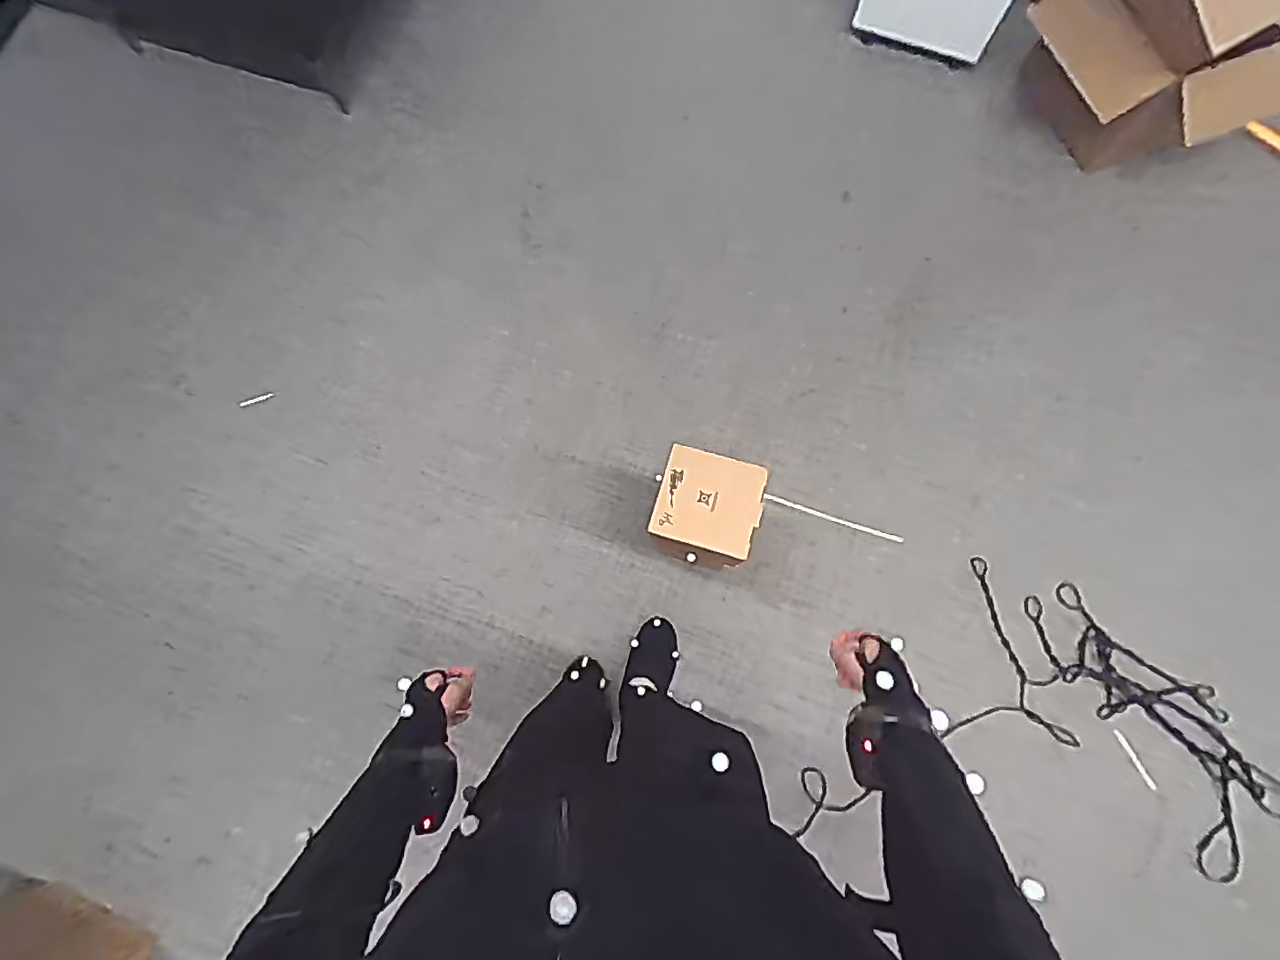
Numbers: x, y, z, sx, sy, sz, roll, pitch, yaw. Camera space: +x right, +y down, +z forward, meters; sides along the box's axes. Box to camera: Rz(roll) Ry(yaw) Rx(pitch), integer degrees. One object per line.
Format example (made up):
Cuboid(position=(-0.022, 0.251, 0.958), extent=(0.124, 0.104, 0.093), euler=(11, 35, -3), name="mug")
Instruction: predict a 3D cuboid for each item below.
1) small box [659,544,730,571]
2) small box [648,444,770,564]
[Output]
Cuboid(position=(0.148, 0.118, 1.323), extent=(0.179, 0.176, 0.168), euler=(18, 78, 7), name="small box")
Cuboid(position=(0.122, 0.053, 1.003), extent=(0.179, 0.176, 0.168), euler=(16, 78, 6), name="small box")
